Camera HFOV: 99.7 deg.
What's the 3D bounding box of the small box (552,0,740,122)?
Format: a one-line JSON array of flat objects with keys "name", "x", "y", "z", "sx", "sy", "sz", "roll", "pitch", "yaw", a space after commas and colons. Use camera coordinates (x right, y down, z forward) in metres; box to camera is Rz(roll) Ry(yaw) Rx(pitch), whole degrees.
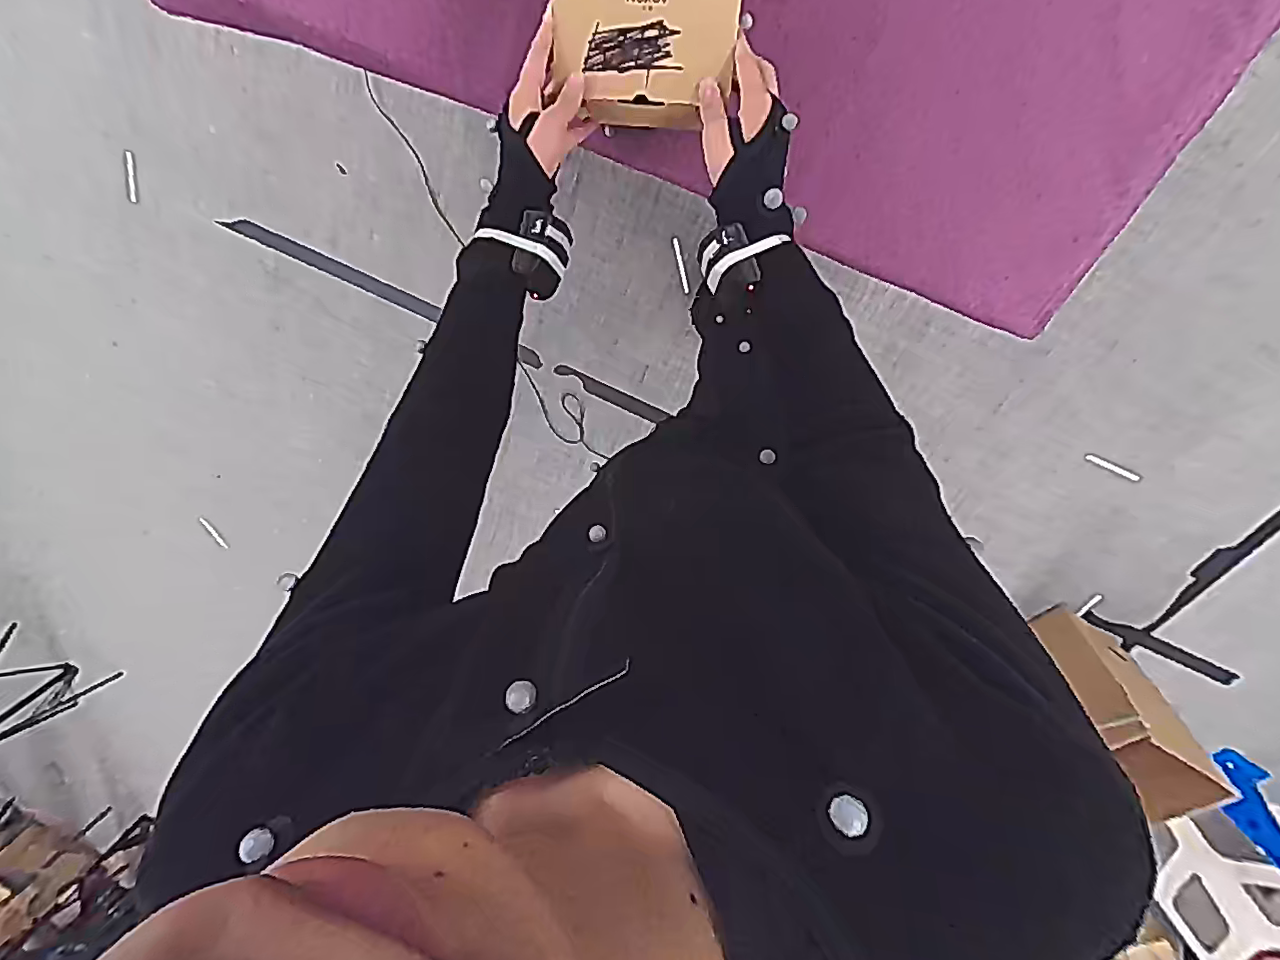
[{"name": "small box", "x": 0.014, "y": -0.469, "z": 0.534, "sx": 0.168, "sy": 0.176, "sz": 0.179, "roll": 6, "pitch": 117, "yaw": 4}]
